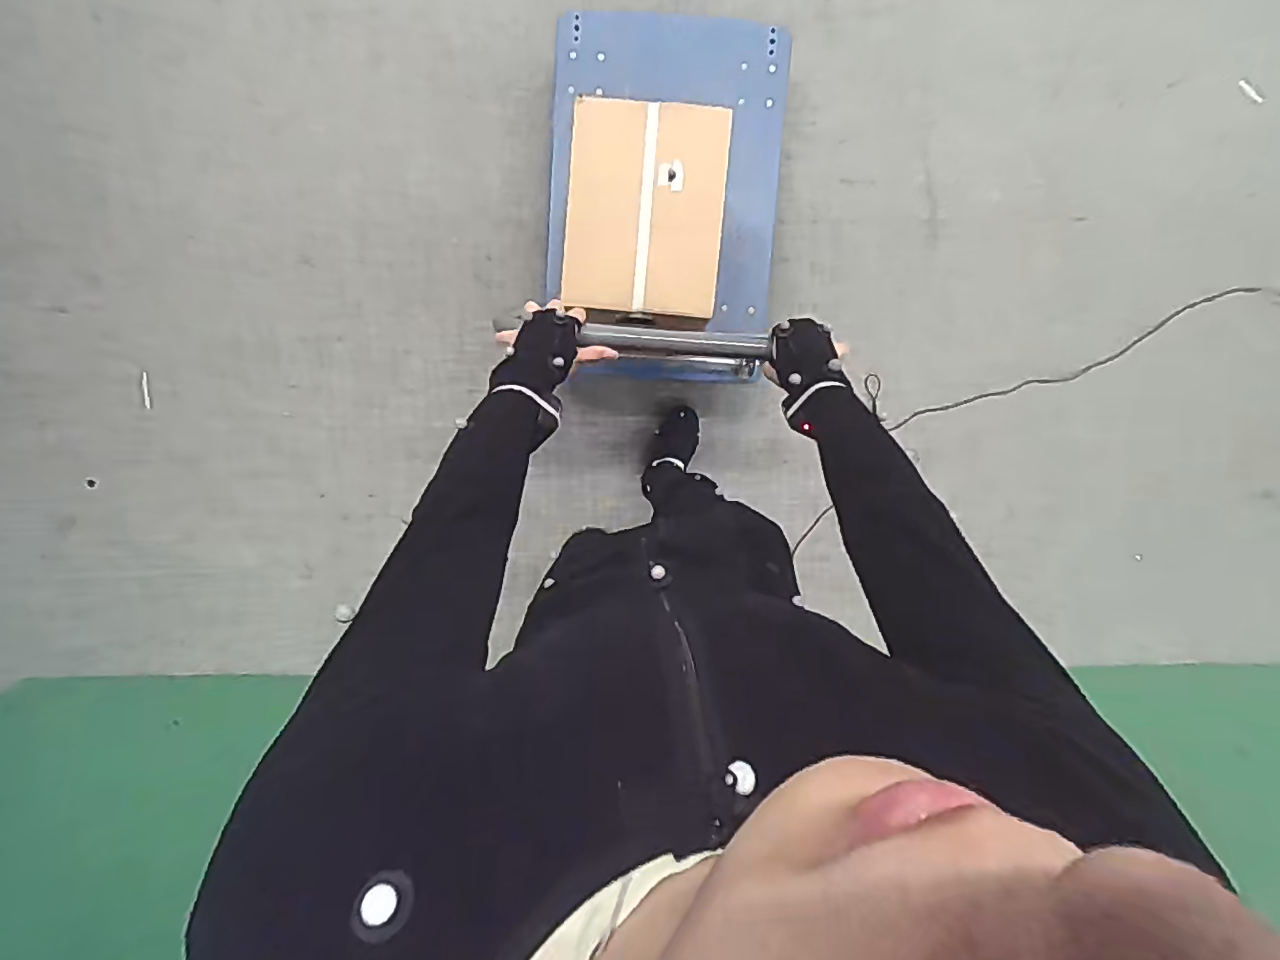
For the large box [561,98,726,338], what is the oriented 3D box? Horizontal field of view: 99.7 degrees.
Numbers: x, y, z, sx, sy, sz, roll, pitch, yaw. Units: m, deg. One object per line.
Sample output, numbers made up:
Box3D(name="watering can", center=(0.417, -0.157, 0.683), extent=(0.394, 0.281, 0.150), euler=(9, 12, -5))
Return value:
Box3D(name="large box", center=(0.007, -0.556, 1.226), extent=(0.320, 0.320, 0.408), euler=(4, 94, -1))
